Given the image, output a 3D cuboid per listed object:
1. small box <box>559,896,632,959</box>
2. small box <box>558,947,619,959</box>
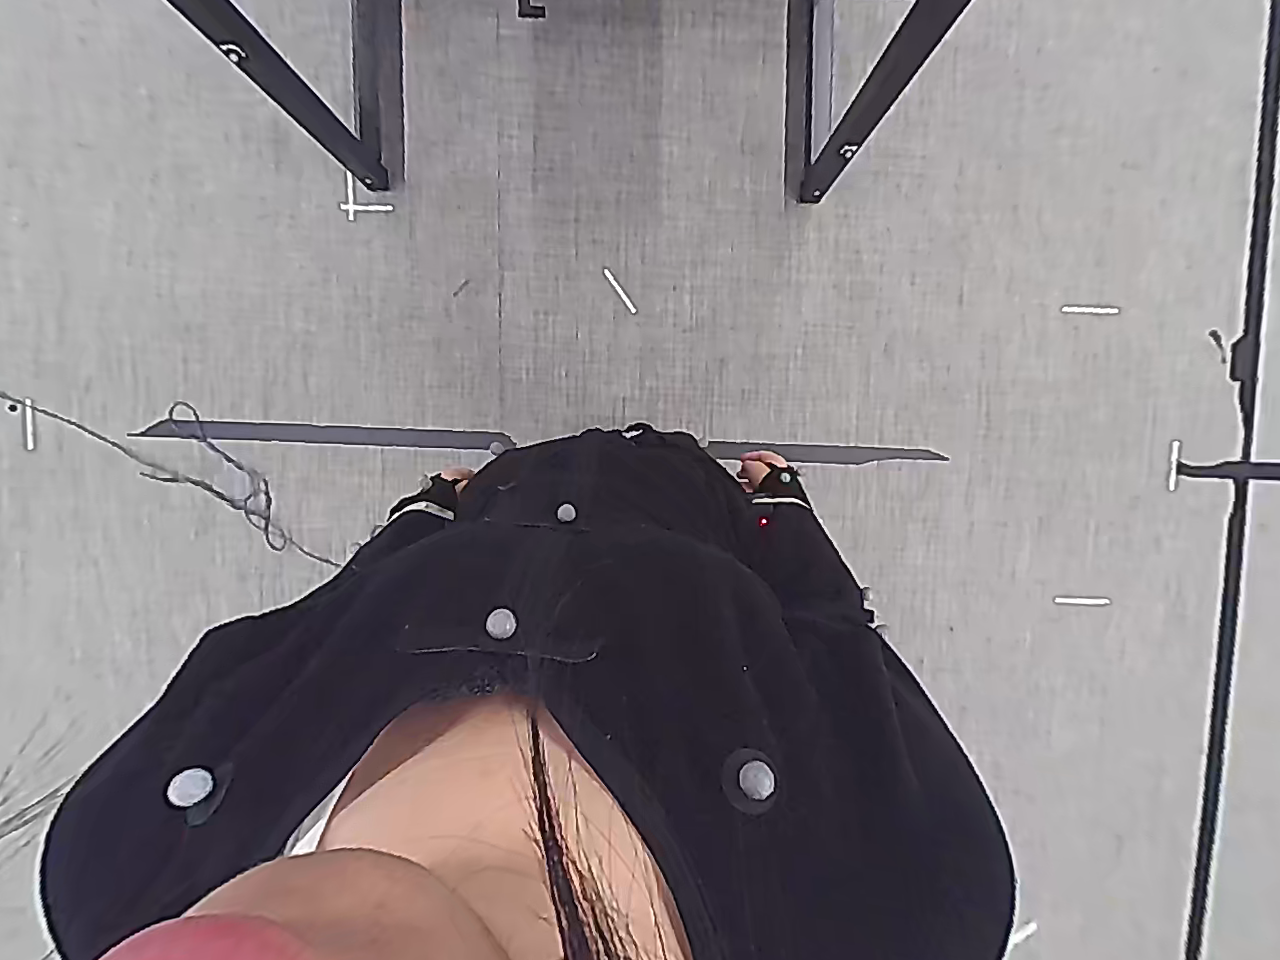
[{"bbox_3d":[-0.117,1.281,1.474,0.168,0.176,0.179,-12,93,0],"label":"small box"},{"bbox_3d":[-0.120,1.299,1.310,0.168,0.176,0.179,-12,94,-2],"label":"small box"}]
